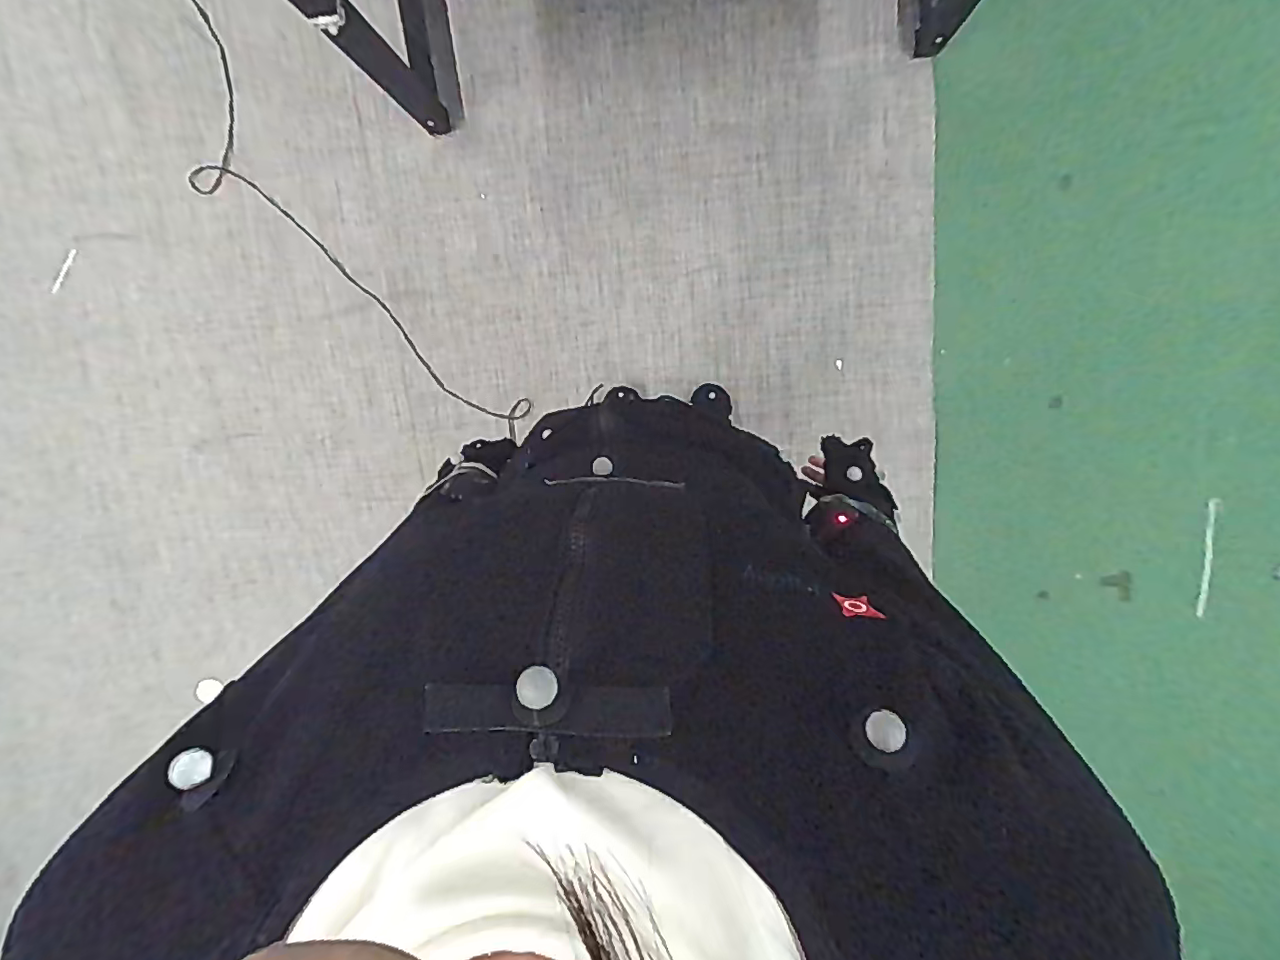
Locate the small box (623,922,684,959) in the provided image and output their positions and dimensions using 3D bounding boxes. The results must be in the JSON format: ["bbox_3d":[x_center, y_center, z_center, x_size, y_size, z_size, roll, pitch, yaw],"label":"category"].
[{"bbox_3d":[0.042,1.471,1.618,0.179,0.176,0.168,-7,103,3],"label":"small box"}]
